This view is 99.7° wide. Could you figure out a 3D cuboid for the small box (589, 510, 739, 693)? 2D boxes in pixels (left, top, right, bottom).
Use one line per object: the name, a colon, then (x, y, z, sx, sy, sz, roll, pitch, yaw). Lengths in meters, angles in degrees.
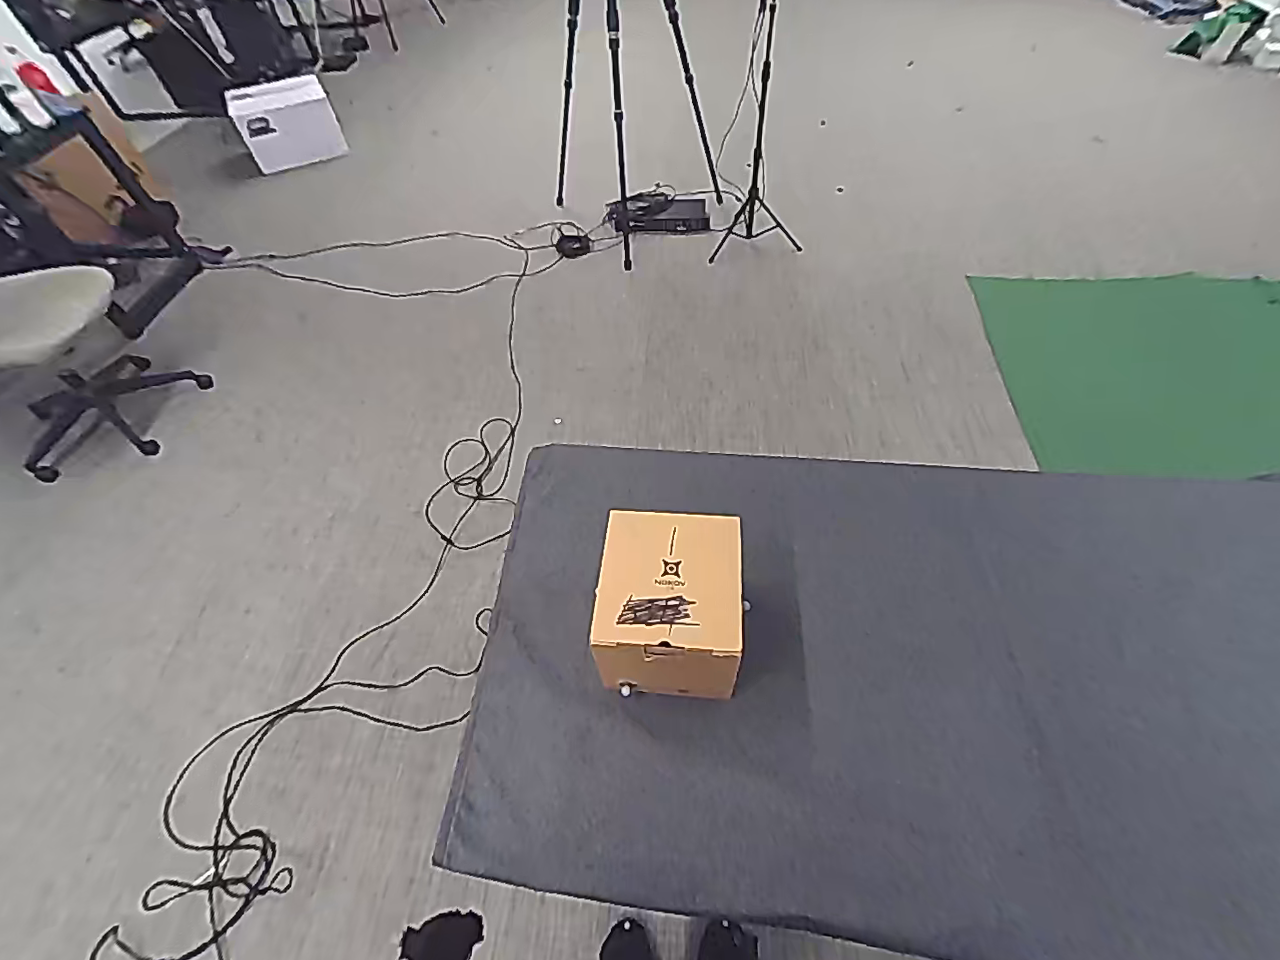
small box: (0.038, 0.159, 0.691, 0.168, 0.176, 0.179, 3, 52, 6)
